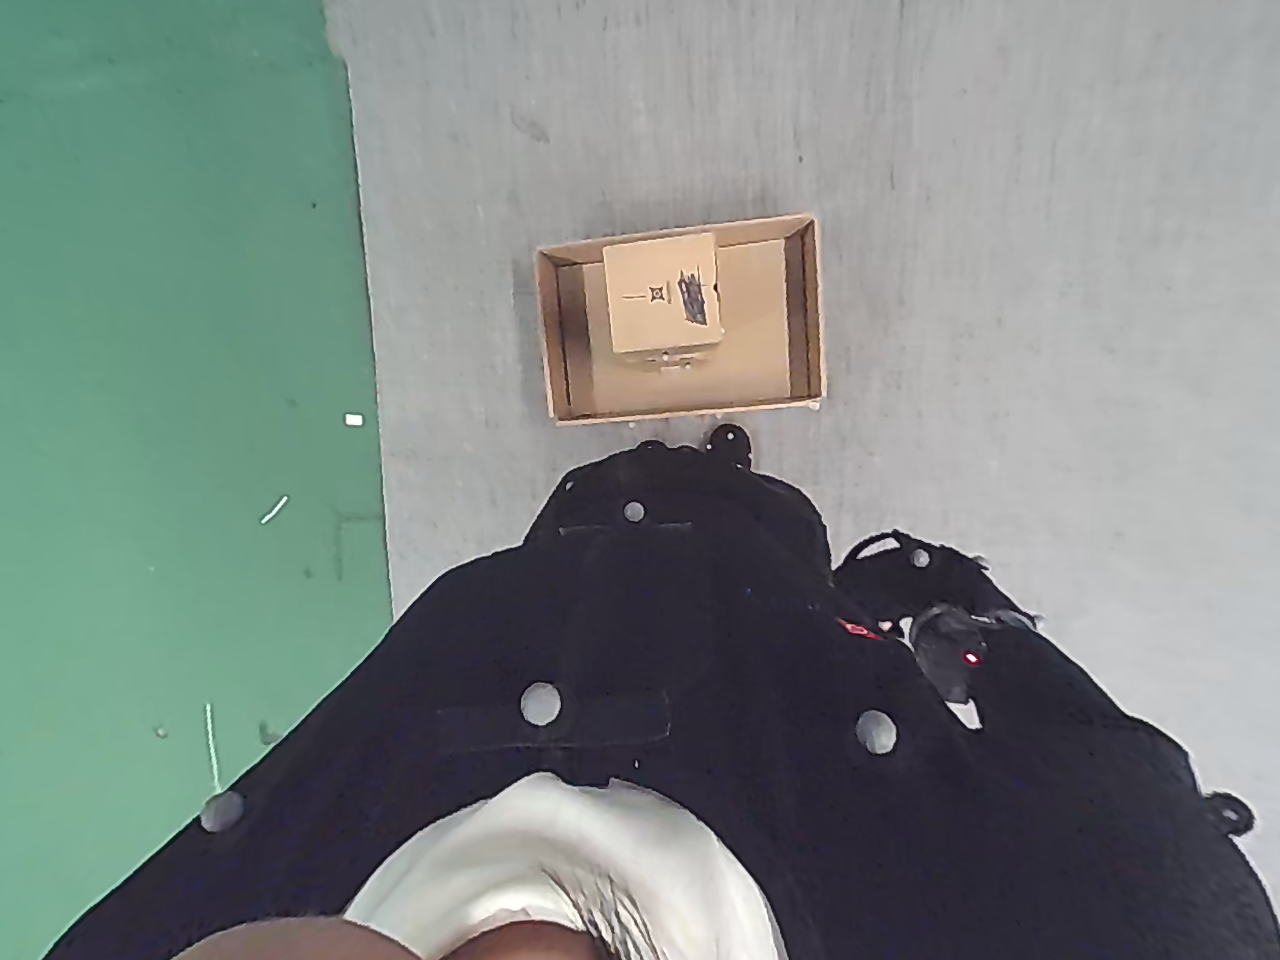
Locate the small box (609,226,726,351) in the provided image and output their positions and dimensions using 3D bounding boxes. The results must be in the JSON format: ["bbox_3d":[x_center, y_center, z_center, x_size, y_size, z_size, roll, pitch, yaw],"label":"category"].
[{"bbox_3d":[0.052,-0.316,0.925,0.179,0.176,0.168,-4,99,8],"label":"small box"}]

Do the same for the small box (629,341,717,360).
[{"bbox_3d":[0.063,-0.334,1.071,0.168,0.176,0.179,-6,99,8],"label":"small box"}]
